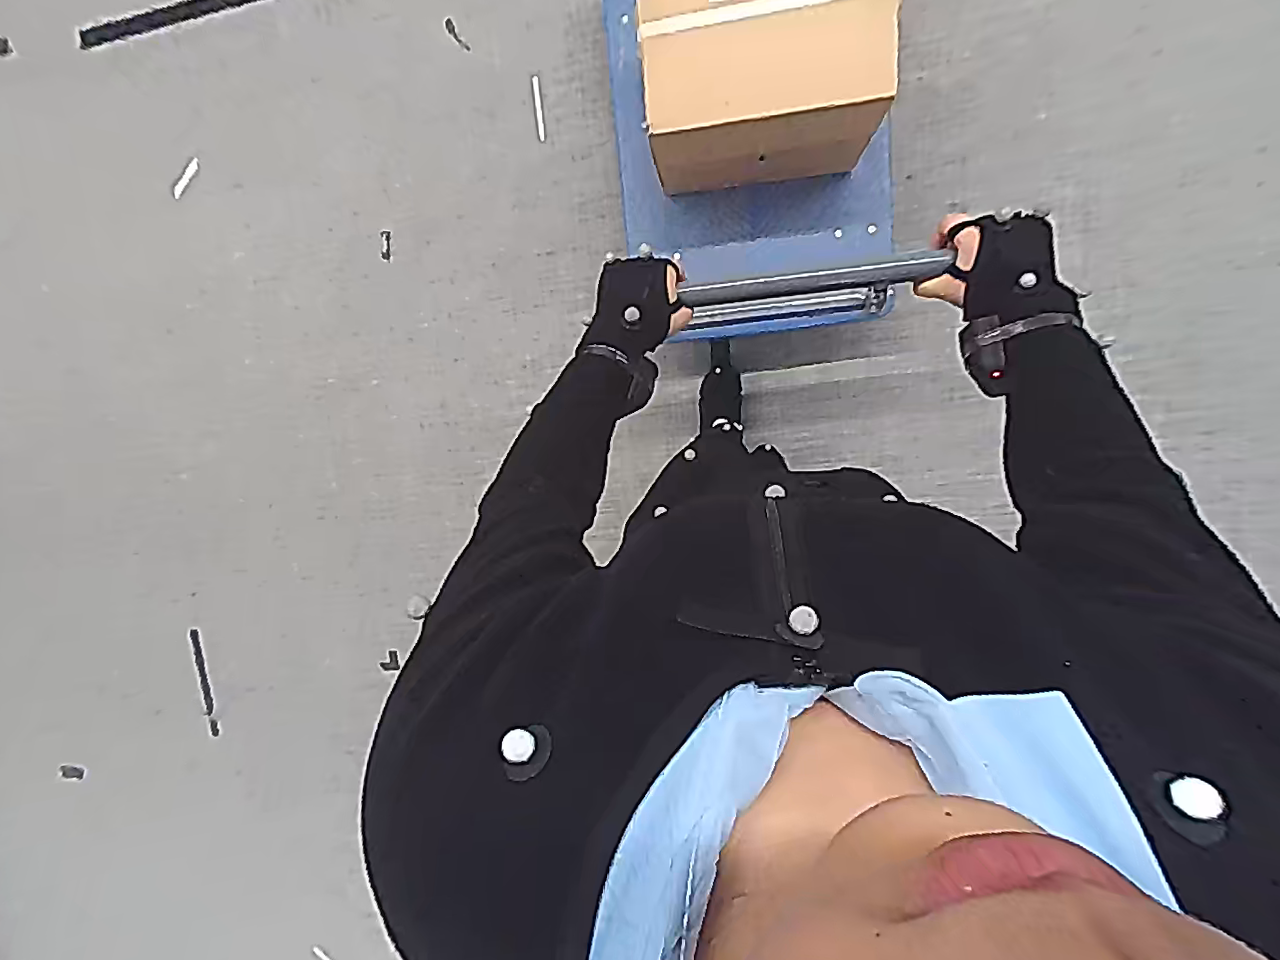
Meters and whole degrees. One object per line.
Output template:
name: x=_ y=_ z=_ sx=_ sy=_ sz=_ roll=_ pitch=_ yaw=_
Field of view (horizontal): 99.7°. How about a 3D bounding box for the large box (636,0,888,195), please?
large box: x=0.221 y=-0.784 z=1.035 sx=0.408 sy=0.320 sz=0.320 roll=-4 pitch=98 yaw=10
